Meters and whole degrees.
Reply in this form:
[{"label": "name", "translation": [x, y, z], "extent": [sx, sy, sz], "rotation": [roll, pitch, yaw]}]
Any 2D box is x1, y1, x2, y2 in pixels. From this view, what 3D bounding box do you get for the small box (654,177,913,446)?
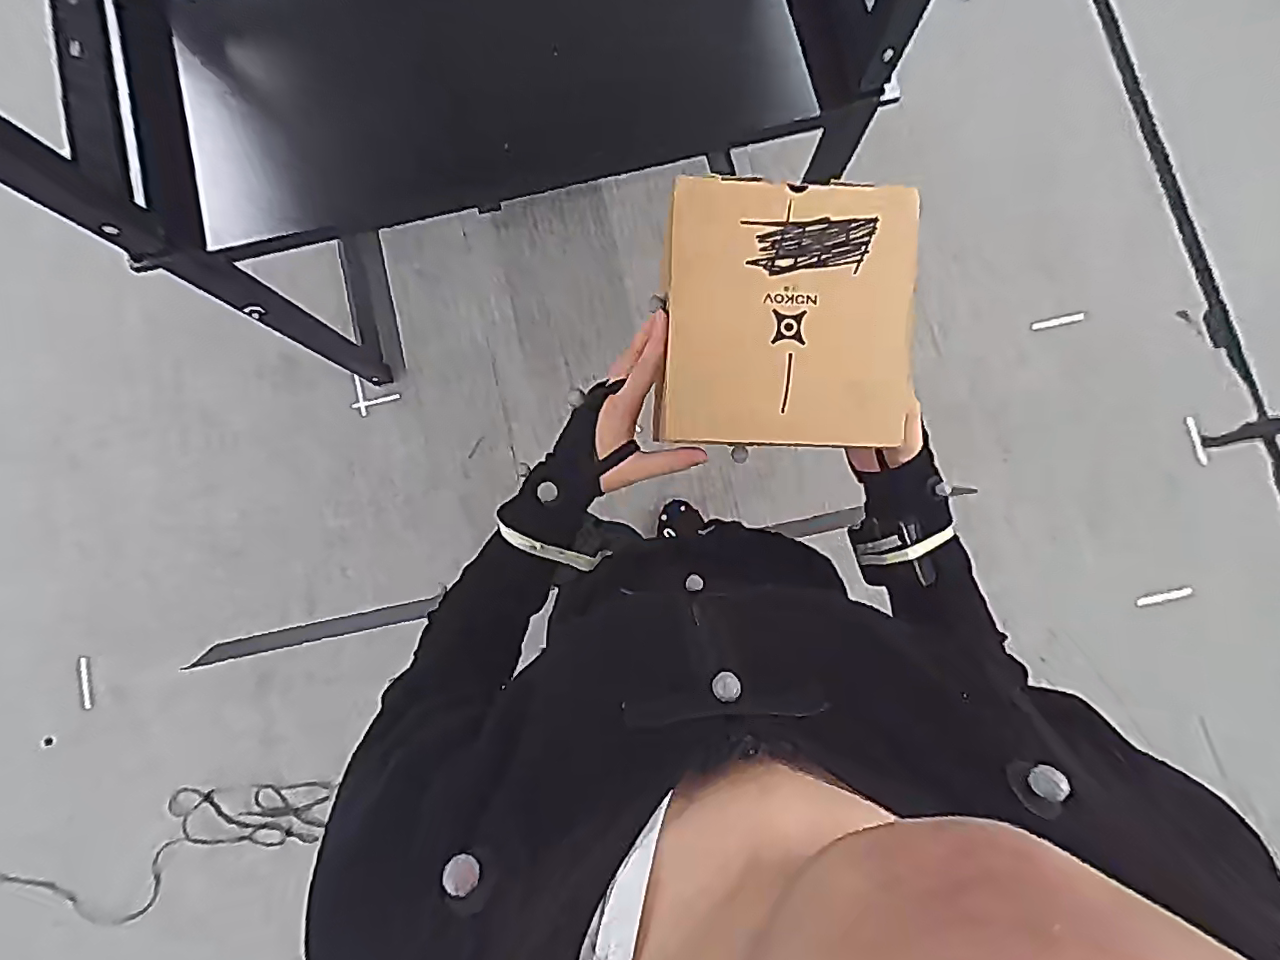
[{"label": "small box", "translation": [0.099, -0.118, 0.447], "extent": [0.168, 0.176, 0.179], "rotation": [1, 94, -1]}]
